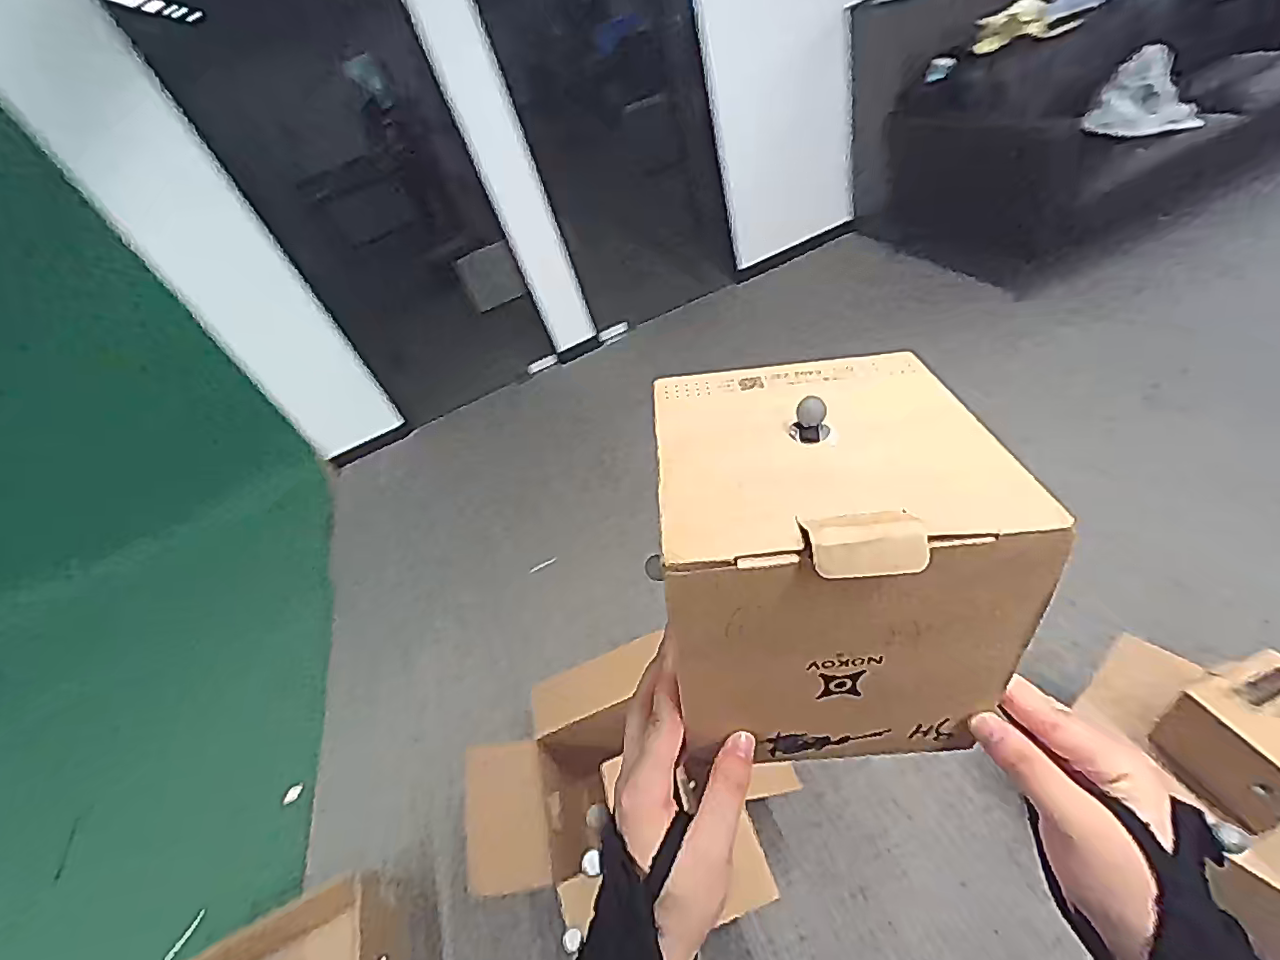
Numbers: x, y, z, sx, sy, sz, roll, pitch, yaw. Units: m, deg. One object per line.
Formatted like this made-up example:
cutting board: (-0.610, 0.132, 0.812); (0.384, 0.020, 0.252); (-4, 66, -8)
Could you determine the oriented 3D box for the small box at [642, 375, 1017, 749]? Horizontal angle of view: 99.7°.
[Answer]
small box: (0.093, 0.043, 0.353); (0.168, 0.179, 0.176); (-7, 36, 3)
